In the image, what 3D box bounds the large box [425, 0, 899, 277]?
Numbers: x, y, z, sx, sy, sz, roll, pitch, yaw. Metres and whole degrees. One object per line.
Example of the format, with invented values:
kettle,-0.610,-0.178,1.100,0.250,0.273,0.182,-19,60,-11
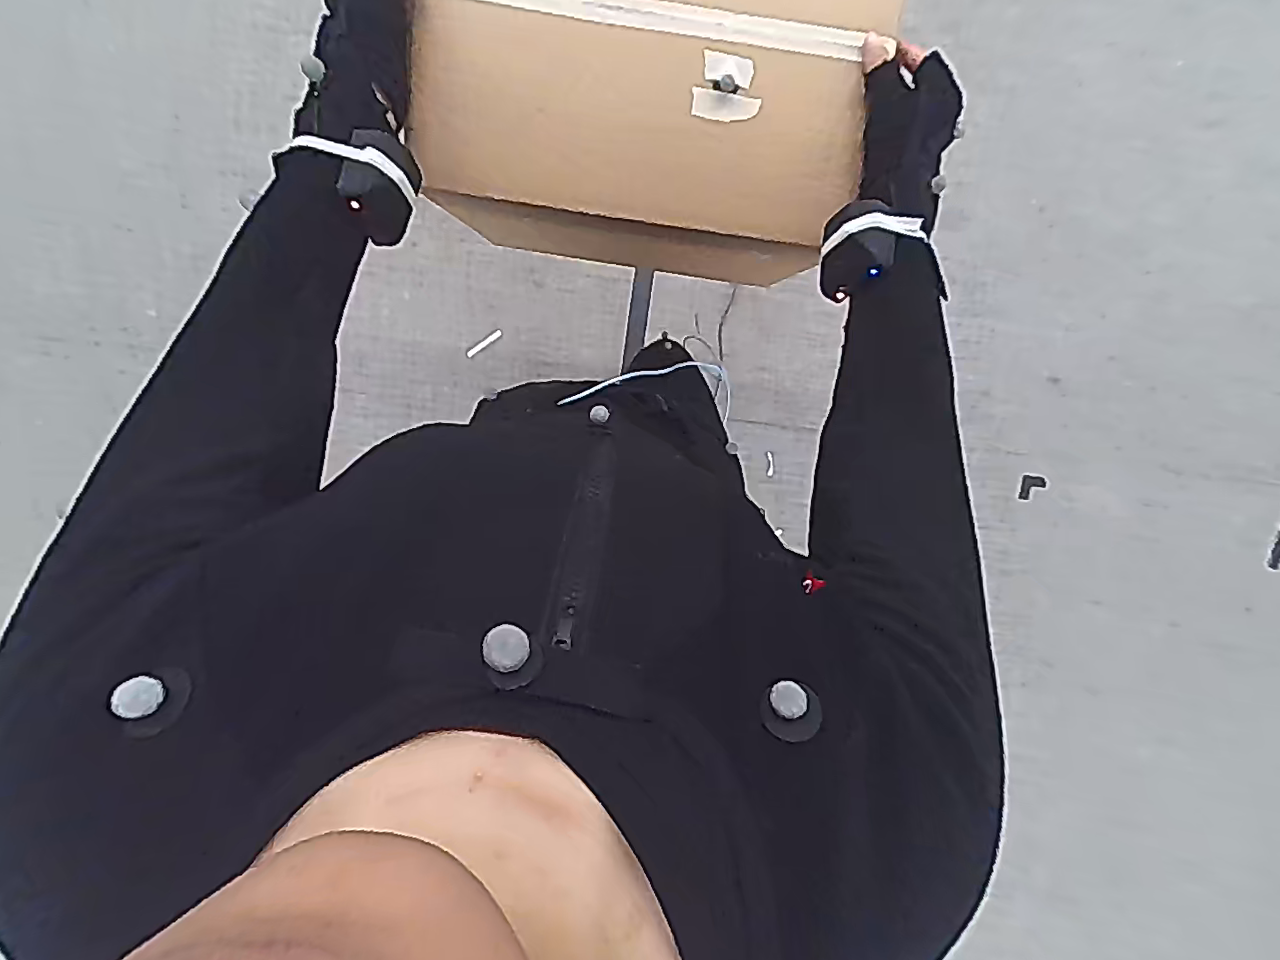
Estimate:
large box,0.014,-0.431,0.605,0.408,0.320,0.320,7,105,-4
